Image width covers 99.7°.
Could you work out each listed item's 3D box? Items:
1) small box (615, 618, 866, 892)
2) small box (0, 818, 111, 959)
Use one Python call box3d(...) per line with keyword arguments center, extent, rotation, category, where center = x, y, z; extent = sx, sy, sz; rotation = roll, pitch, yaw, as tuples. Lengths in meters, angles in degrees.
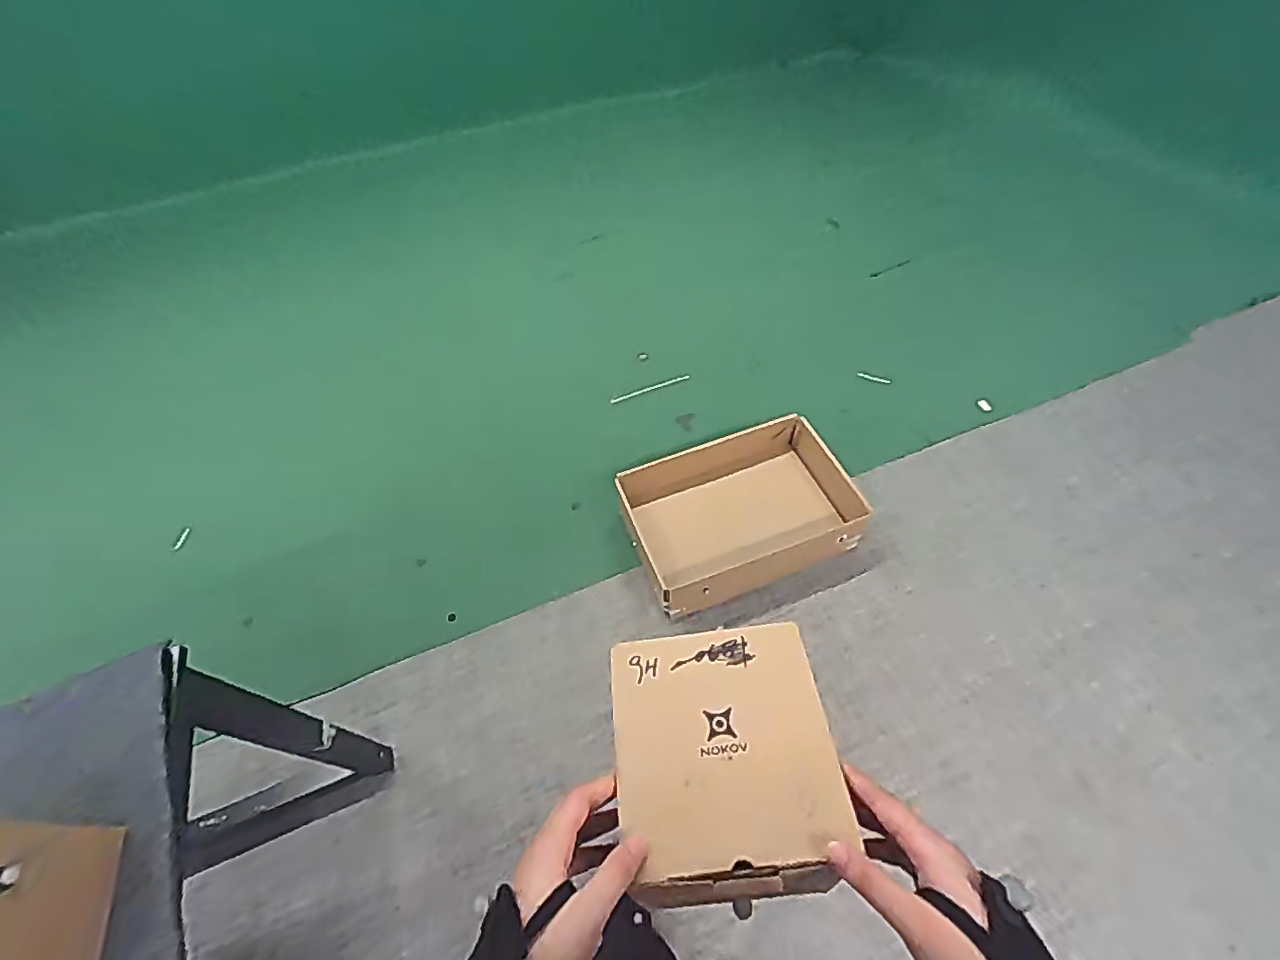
box3d(center=(0.072, 0.245, 0.473), extent=(0.168, 0.176, 0.179), rotation=(-7, 49, 0), category="small box")
box3d(center=(-0.645, 0.433, 0.489), extent=(0.168, 0.176, 0.179), rotation=(-17, 57, -6), category="small box")
